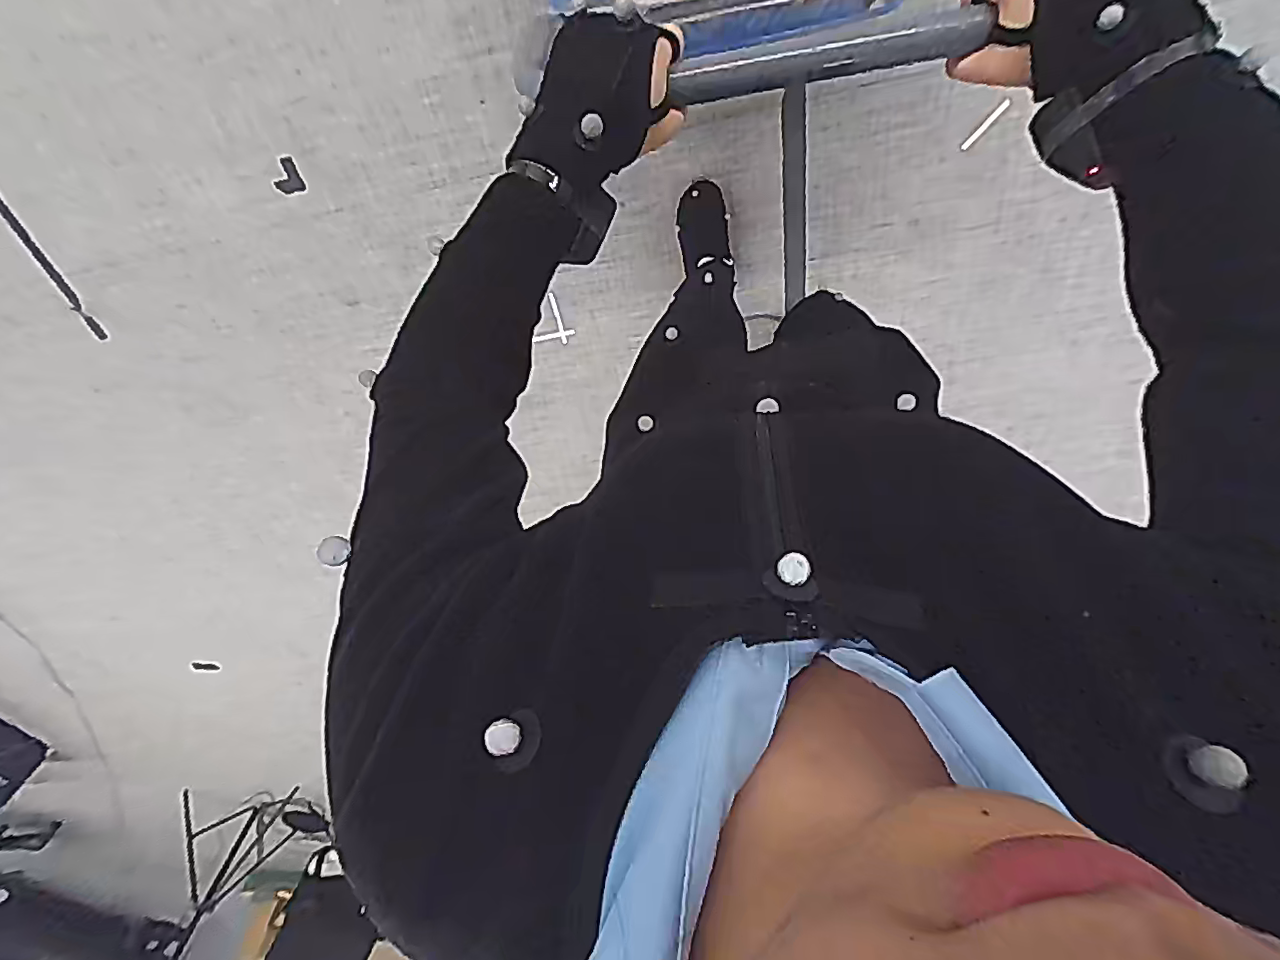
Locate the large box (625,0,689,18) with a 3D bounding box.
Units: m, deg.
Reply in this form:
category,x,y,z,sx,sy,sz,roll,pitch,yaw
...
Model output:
category,x,y,z,sx,sy,sz,roll,pitch,yaw
large box,0.132,-0.846,0.674,0.408,0.320,0.320,-11,127,9
